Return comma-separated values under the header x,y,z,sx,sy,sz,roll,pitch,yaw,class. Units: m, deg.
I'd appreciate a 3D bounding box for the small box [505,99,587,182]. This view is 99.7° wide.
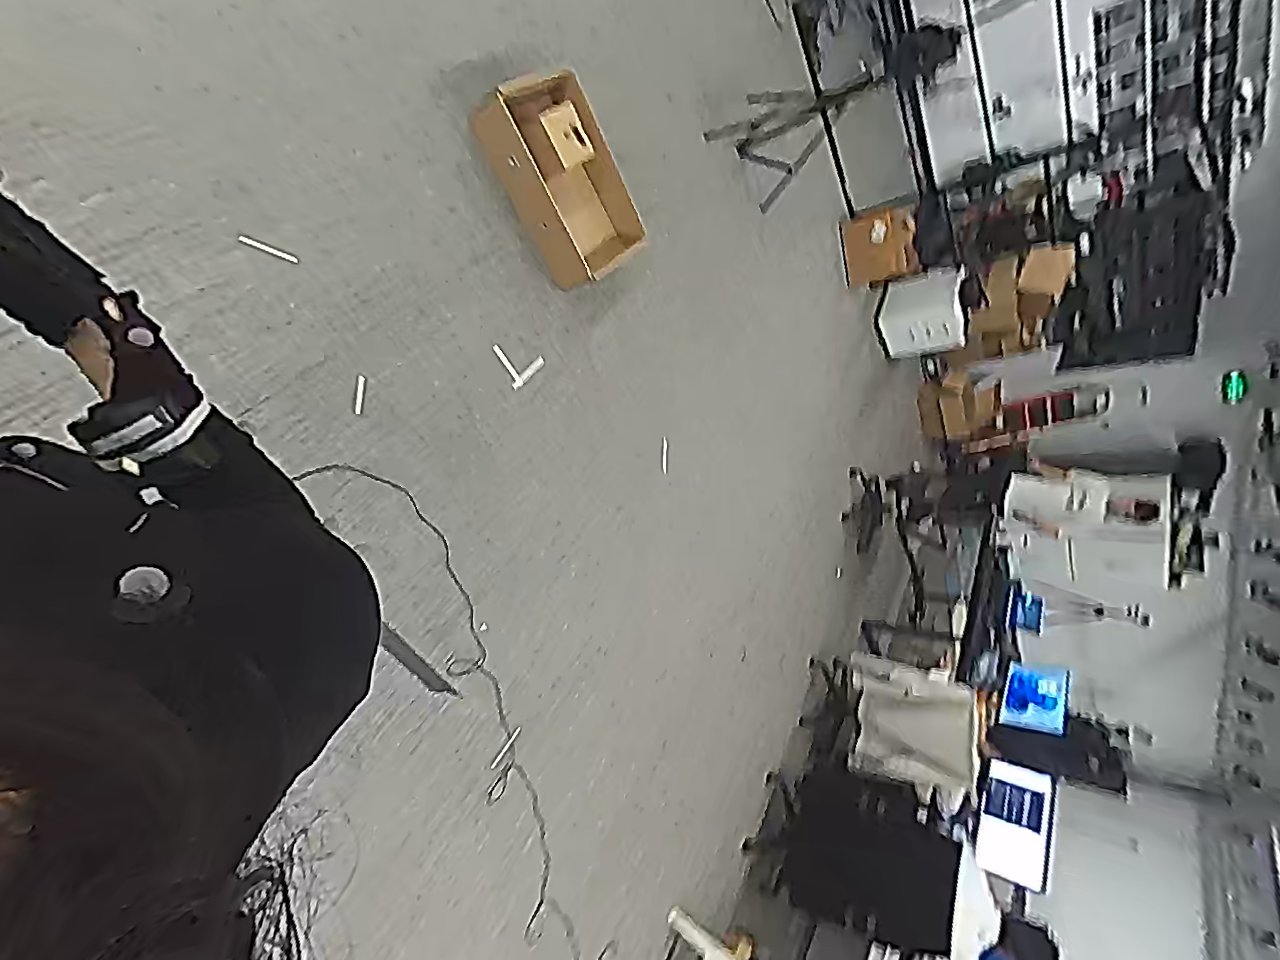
x,y,z,sx,sy,sz,roll,pitch,yaw,class
-0.320,-1.150,1.834,0.179,0.176,0.168,-54,127,-34,small box
